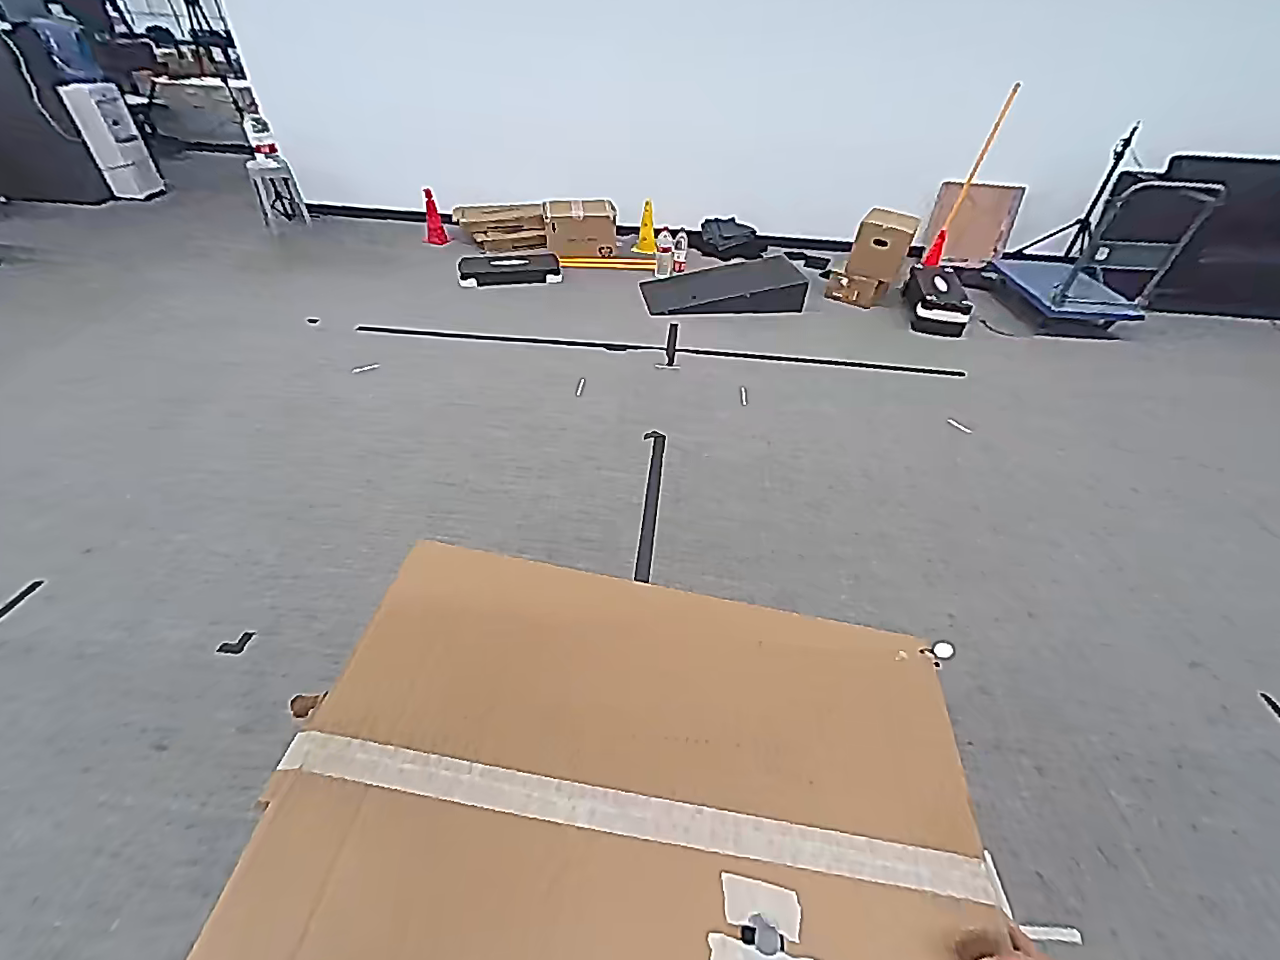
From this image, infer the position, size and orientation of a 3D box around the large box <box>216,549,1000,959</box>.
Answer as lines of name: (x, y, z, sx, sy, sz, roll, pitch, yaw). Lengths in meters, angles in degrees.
large box: (-0.016, 0.299, 0.427, 0.408, 0.320, 0.320, 12, 47, 0)
